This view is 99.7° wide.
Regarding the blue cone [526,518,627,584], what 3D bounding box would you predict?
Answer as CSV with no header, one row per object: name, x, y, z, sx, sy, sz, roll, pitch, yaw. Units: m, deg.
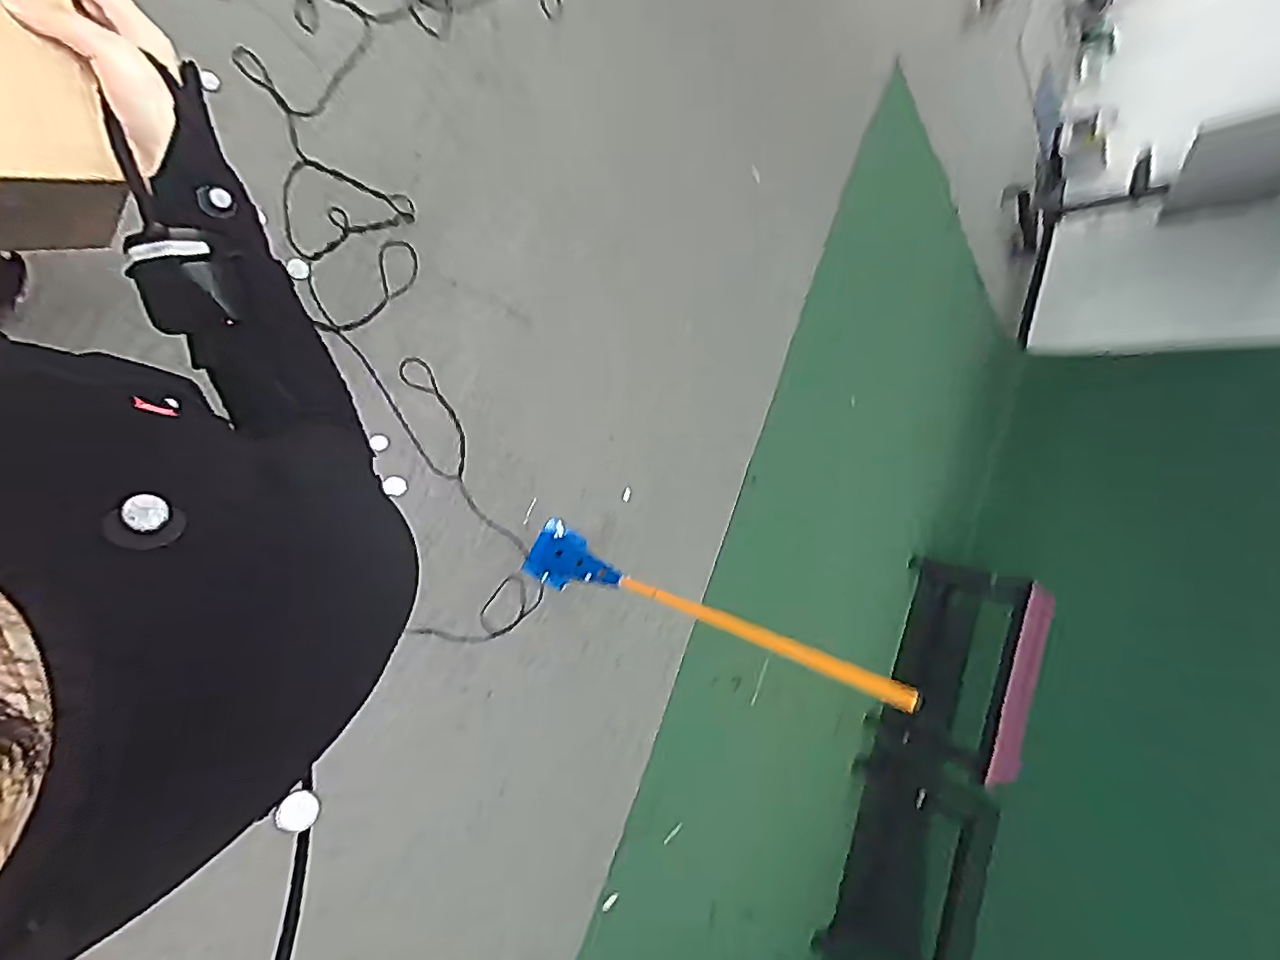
blue cone,-0.182,0.263,1.729,0.192,0.380,0.193,41,70,-39

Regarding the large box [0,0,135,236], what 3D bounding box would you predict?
large box,-0.608,-0.320,0.293,0.408,0.320,0.320,-24,116,-43
